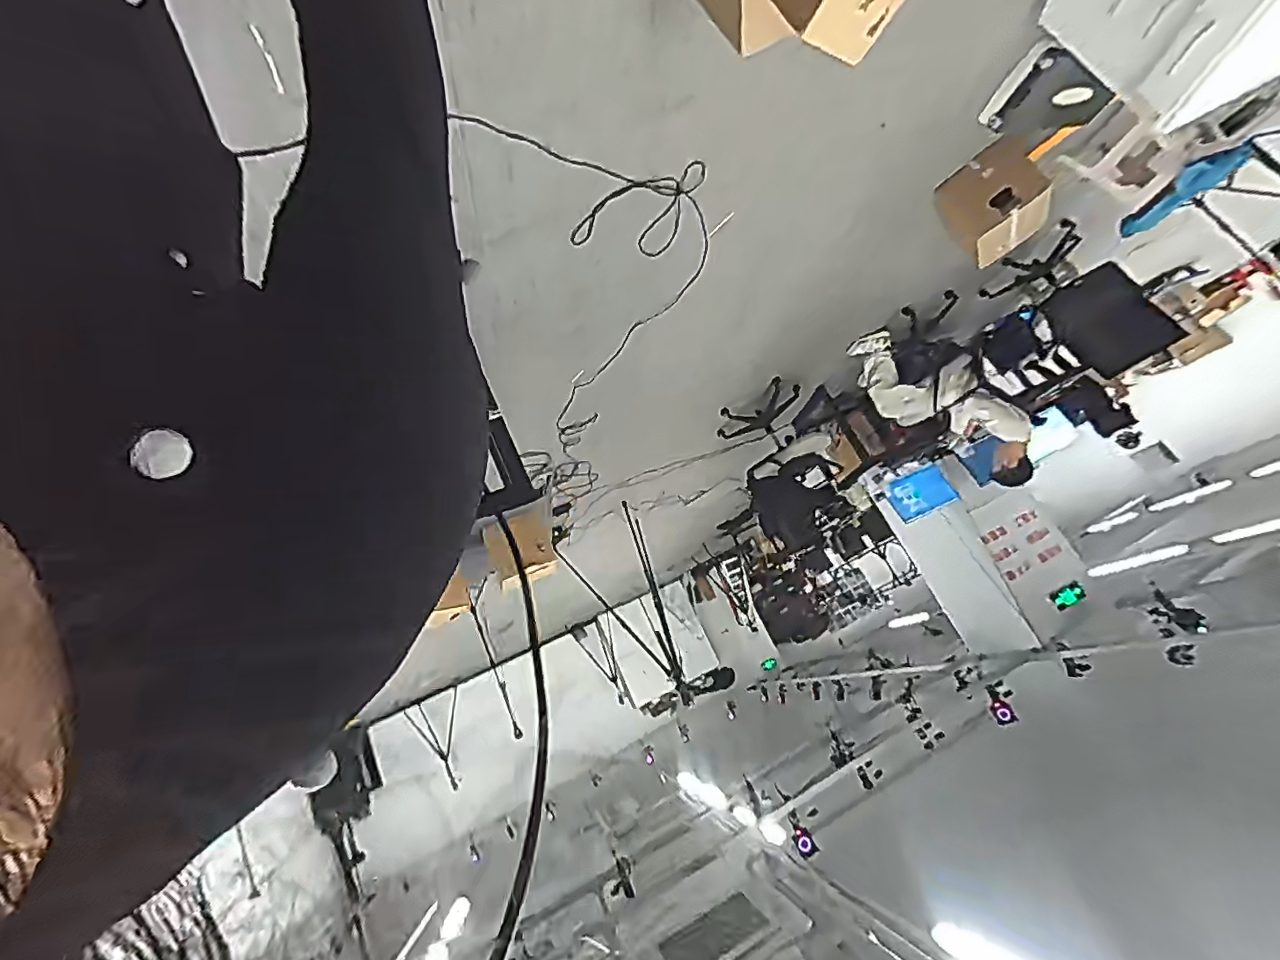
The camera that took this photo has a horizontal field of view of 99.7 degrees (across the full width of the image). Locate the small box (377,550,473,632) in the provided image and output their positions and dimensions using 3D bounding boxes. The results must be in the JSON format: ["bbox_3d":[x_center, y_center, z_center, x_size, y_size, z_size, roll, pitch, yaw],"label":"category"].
[{"bbox_3d":[-0.626,0.315,1.565,0.168,0.176,0.179,-33,162,23],"label":"small box"}]

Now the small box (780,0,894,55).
[{"bbox_3d":[0.338,-0.890,0.927,0.179,0.176,0.168,-11,158,-36],"label":"small box"}]
